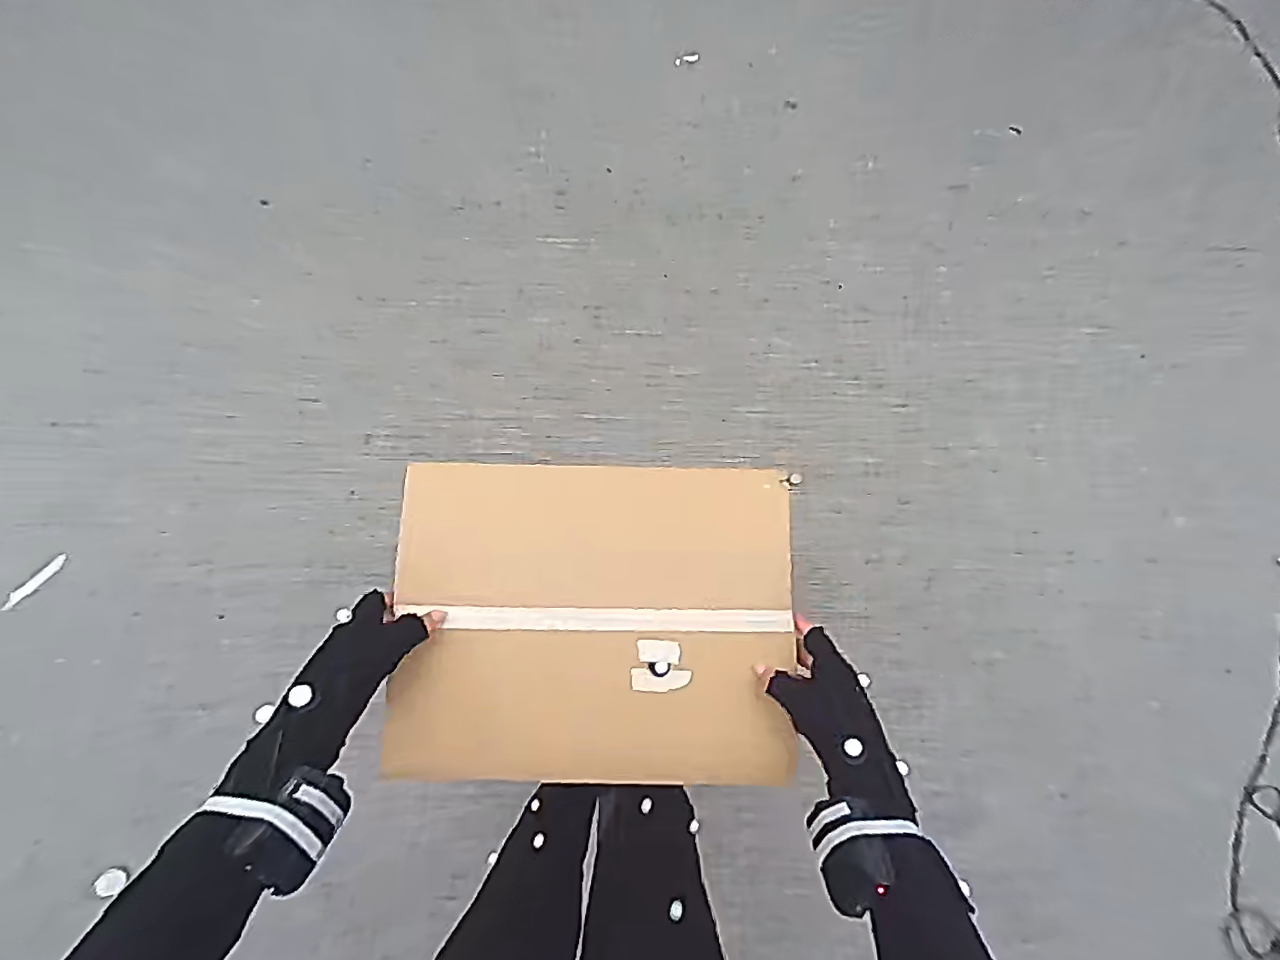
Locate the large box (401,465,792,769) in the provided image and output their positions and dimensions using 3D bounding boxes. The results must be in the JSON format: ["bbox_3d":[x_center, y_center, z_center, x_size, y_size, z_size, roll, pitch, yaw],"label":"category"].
[{"bbox_3d":[-0.048,0.162,0.715,0.408,0.320,0.320,1,81,-1],"label":"large box"}]
